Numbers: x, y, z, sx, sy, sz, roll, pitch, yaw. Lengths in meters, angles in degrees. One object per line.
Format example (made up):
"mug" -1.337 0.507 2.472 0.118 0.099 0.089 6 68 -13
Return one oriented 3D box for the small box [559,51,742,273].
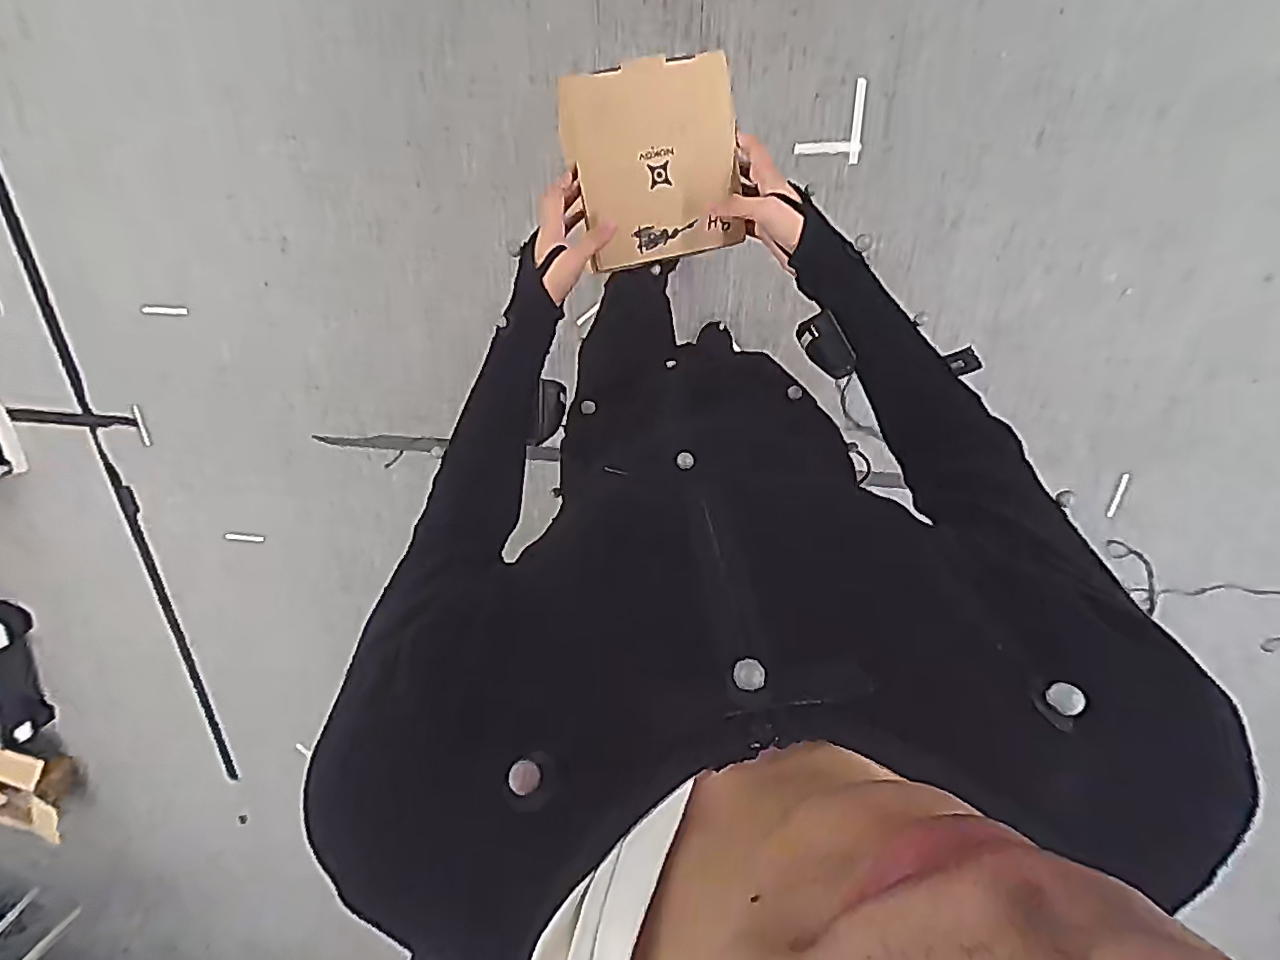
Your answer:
"small box" 0.004 -0.343 0.617 0.168 0.176 0.179 -12 111 -4
